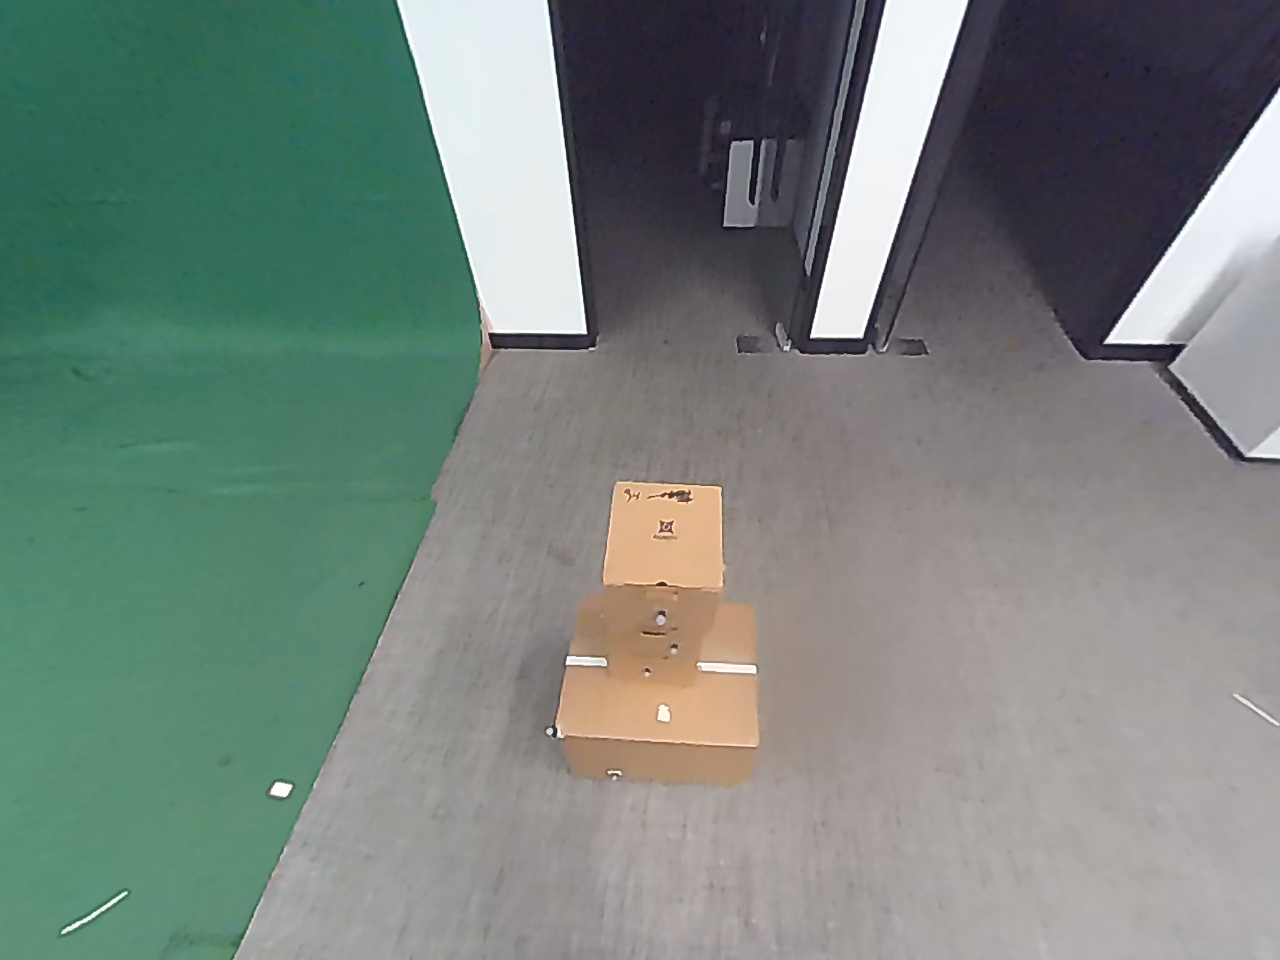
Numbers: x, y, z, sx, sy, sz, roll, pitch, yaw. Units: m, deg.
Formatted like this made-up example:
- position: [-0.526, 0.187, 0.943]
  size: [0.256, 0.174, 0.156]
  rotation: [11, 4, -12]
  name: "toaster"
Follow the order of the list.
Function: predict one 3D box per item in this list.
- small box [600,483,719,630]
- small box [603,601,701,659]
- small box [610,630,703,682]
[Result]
- position: [0.036, 0.125, 0.851]
  size: [0.168, 0.176, 0.179]
  rotation: [2, 55, 4]
  name: "small box"
- position: [0.029, 0.215, 0.988]
  size: [0.168, 0.176, 0.179]
  rotation: [2, 53, 3]
  name: "small box"
- position: [0.036, 0.310, 1.118]
  size: [0.179, 0.176, 0.168]
  rotation: [1, 54, 4]
  name: "small box"
